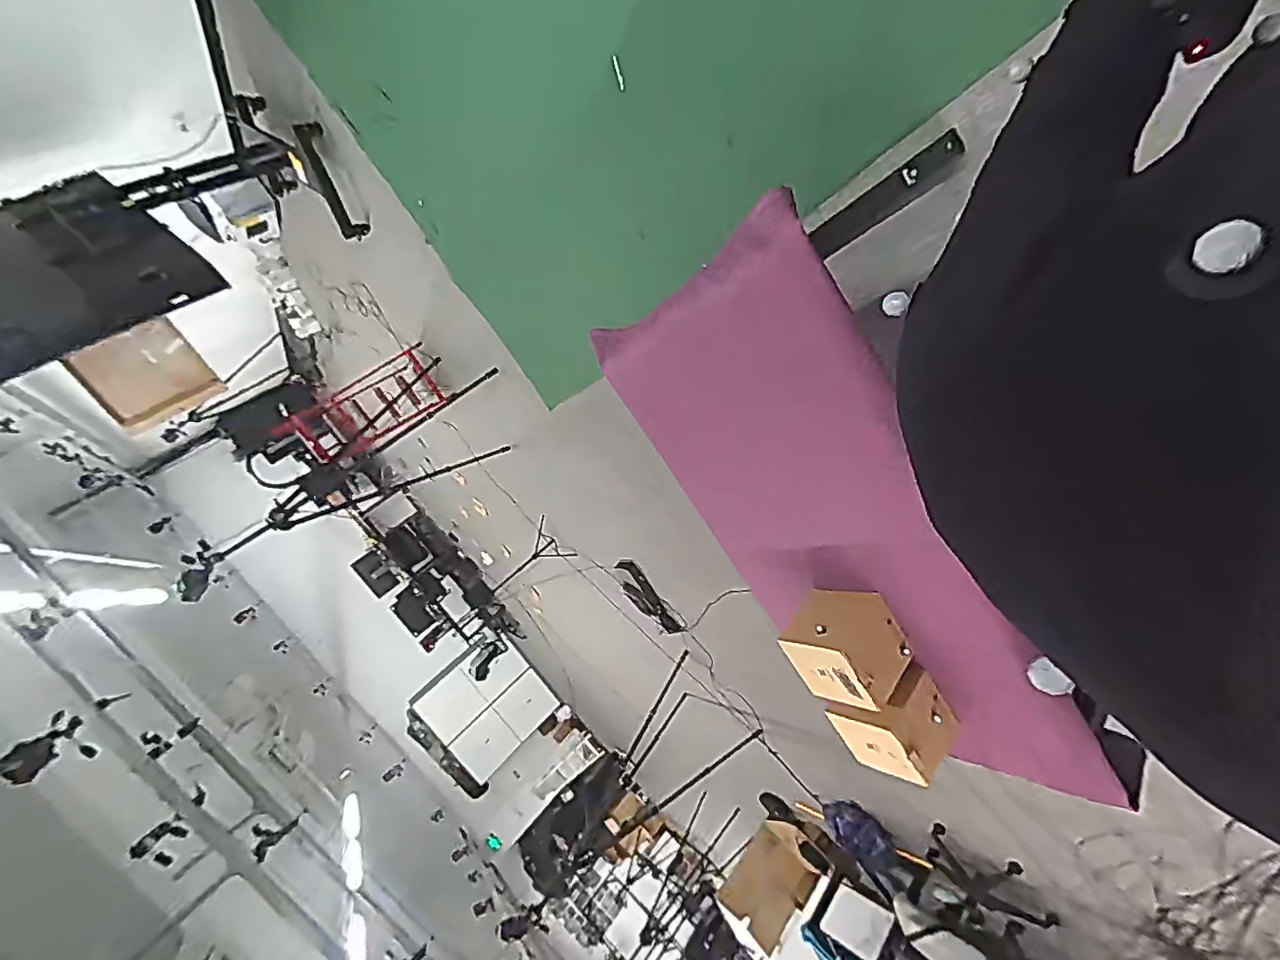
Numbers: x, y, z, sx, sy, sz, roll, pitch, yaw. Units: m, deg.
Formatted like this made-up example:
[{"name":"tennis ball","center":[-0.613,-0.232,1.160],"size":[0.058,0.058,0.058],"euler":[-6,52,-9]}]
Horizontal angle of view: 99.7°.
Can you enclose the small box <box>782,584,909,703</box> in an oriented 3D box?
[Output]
[{"name":"small box","center":[0.448,0.341,1.164],"size":[0.168,0.176,0.179],"euler":[56,152,-12]}]

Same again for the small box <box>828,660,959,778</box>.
[{"name":"small box","center":[0.567,0.514,1.208],"size":[0.168,0.176,0.179],"euler":[55,151,-12]}]
